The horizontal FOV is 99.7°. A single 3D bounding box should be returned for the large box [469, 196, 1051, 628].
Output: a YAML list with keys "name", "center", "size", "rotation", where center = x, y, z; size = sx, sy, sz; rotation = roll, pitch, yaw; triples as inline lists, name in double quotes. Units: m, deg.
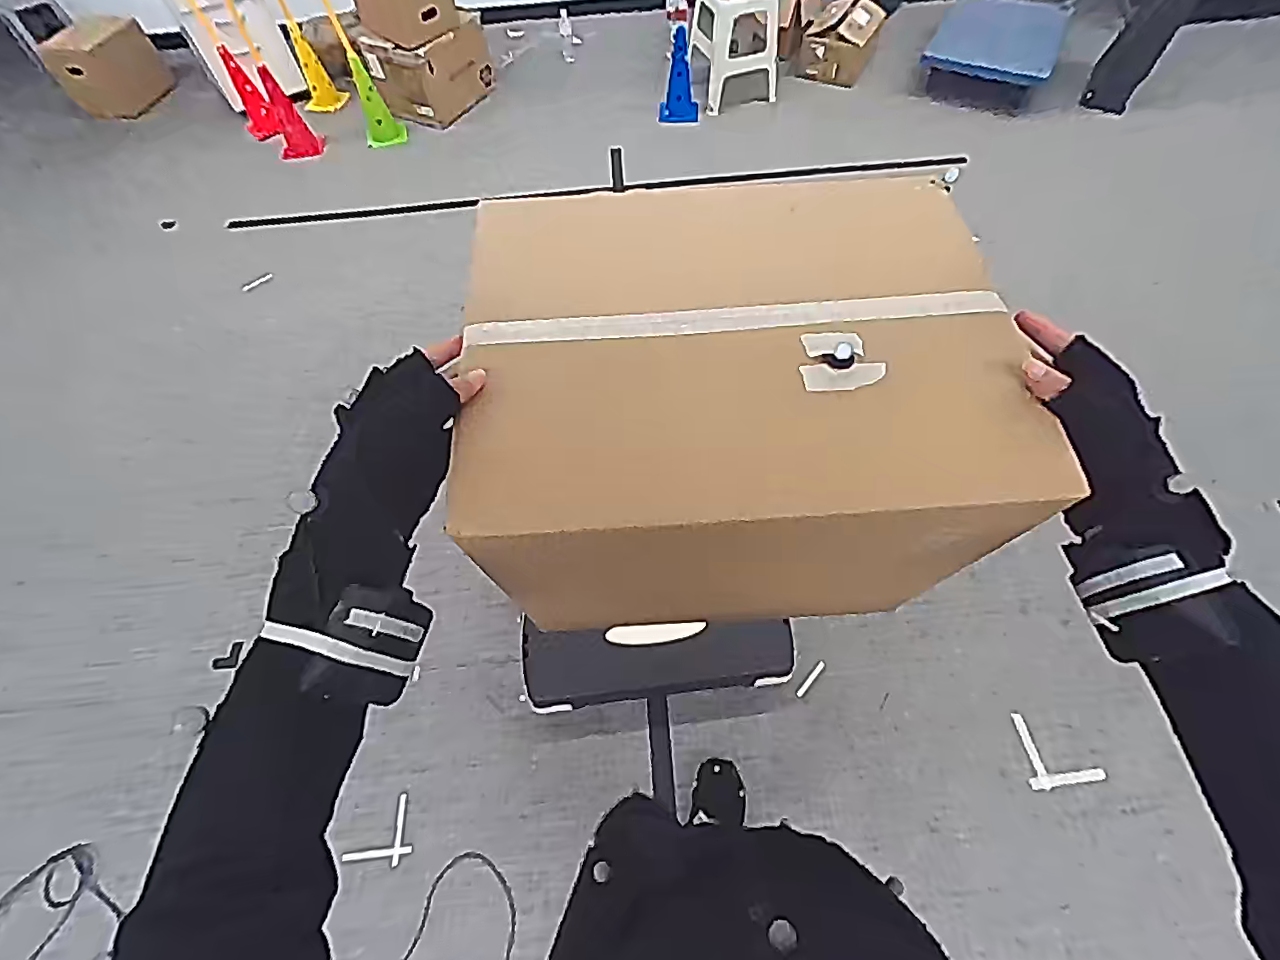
- name: "large box"
  center: [0.072, -0.046, 0.559]
  size: [0.408, 0.320, 0.320]
  rotation: [-4, 64, -1]
